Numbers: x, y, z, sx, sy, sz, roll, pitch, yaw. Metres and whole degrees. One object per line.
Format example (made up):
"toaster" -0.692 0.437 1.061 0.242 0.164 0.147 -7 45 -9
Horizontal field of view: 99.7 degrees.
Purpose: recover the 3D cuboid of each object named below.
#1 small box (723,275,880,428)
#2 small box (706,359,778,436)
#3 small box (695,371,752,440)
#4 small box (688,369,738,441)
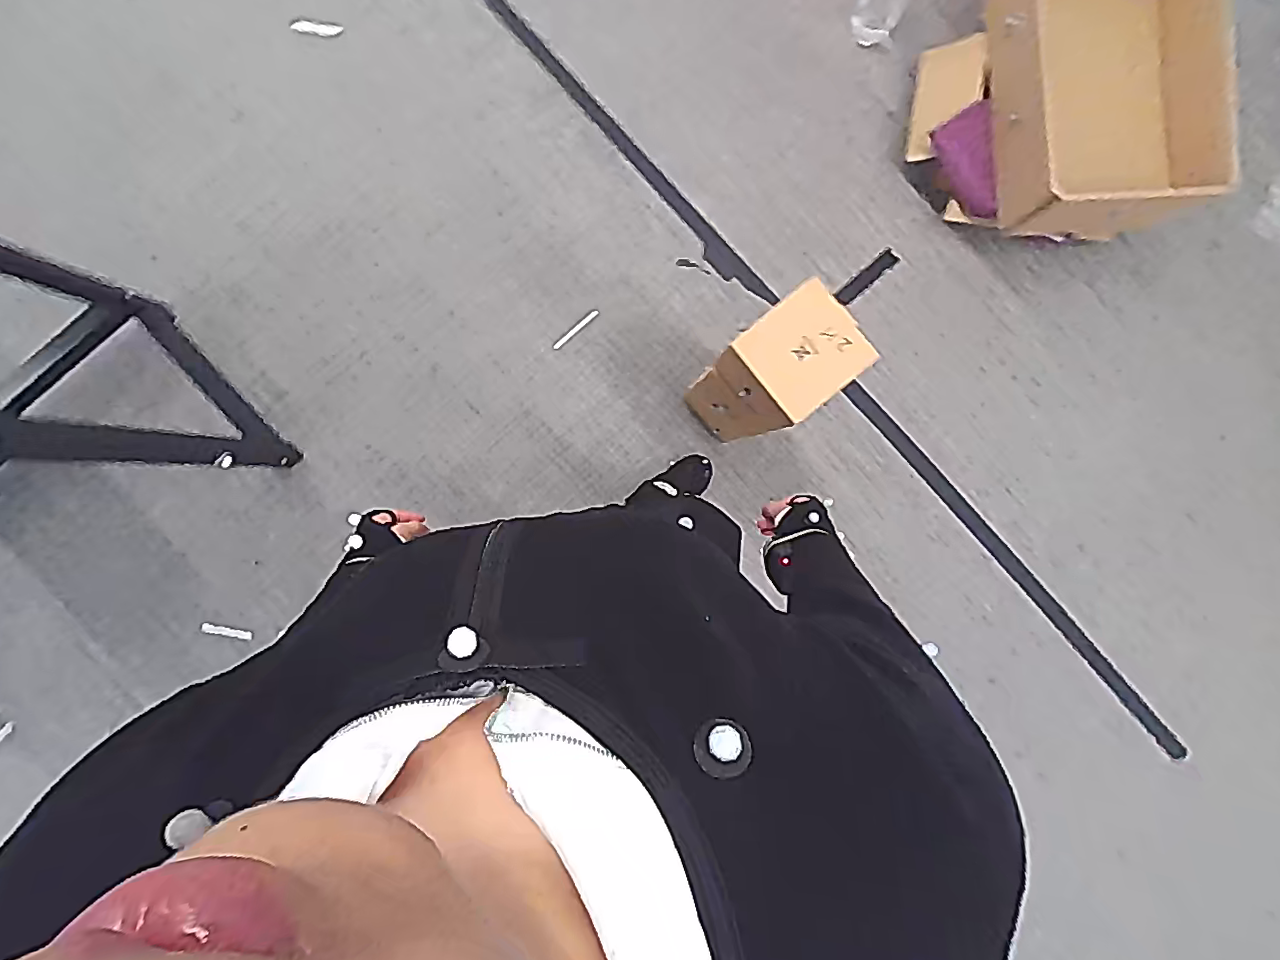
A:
"small box" 0.258 -0.204 0.918 0.179 0.176 0.168 -39 91 -1
"small box" 0.251 -0.207 1.082 0.179 0.176 0.168 -43 91 0
"small box" 0.245 -0.211 1.247 0.179 0.176 0.168 -43 91 -1
"small box" 0.243 -0.214 1.410 0.168 0.176 0.179 -42 89 -1
